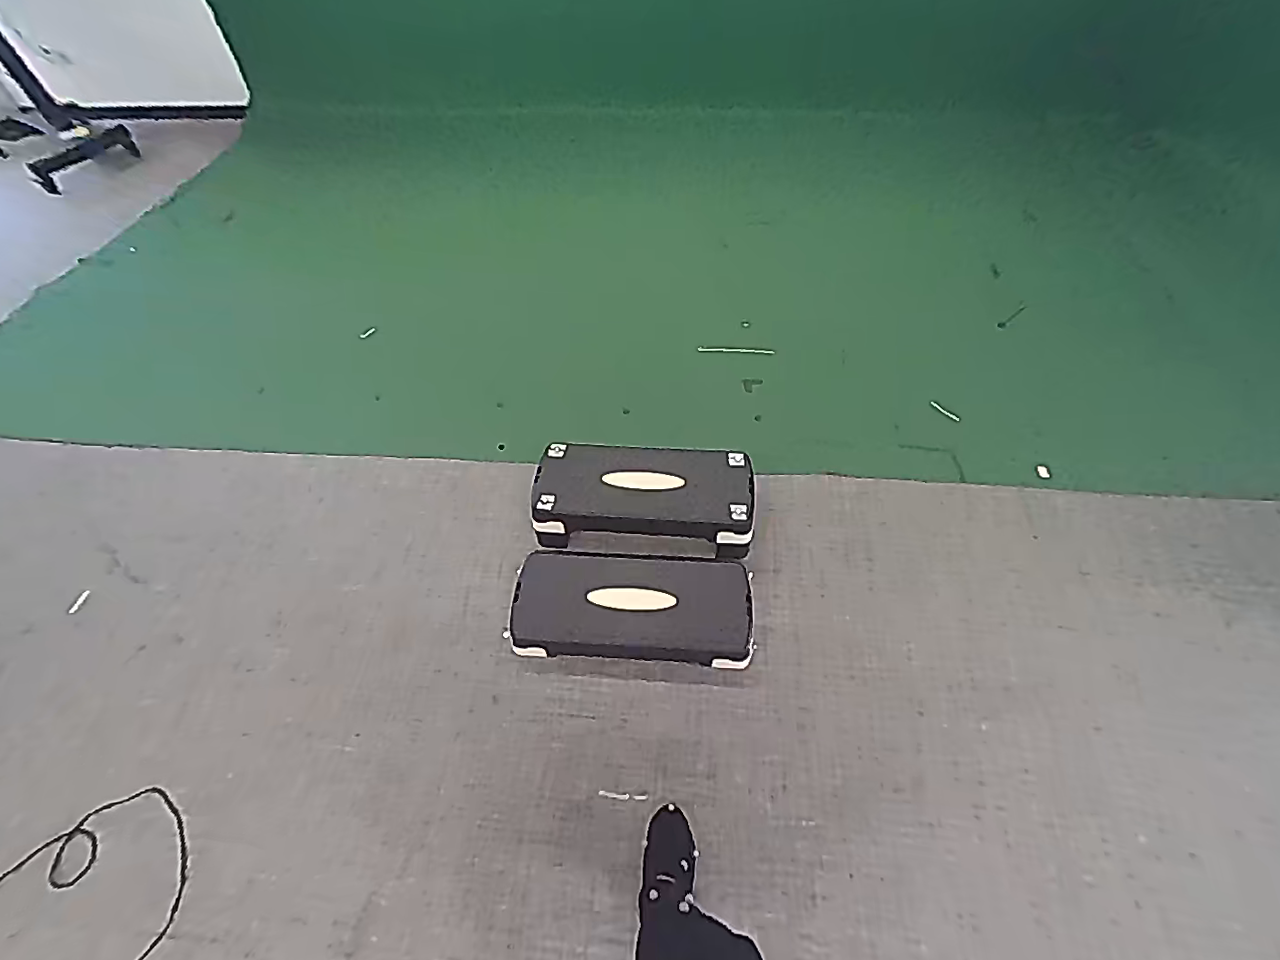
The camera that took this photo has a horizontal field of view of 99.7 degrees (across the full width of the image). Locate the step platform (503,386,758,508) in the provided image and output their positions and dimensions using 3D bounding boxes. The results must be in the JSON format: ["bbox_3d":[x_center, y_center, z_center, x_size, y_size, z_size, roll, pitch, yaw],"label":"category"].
[{"bbox_3d":[-0.022,-0.093,1.541,0.684,0.204,0.286,2,53,4],"label":"step platform"}]
